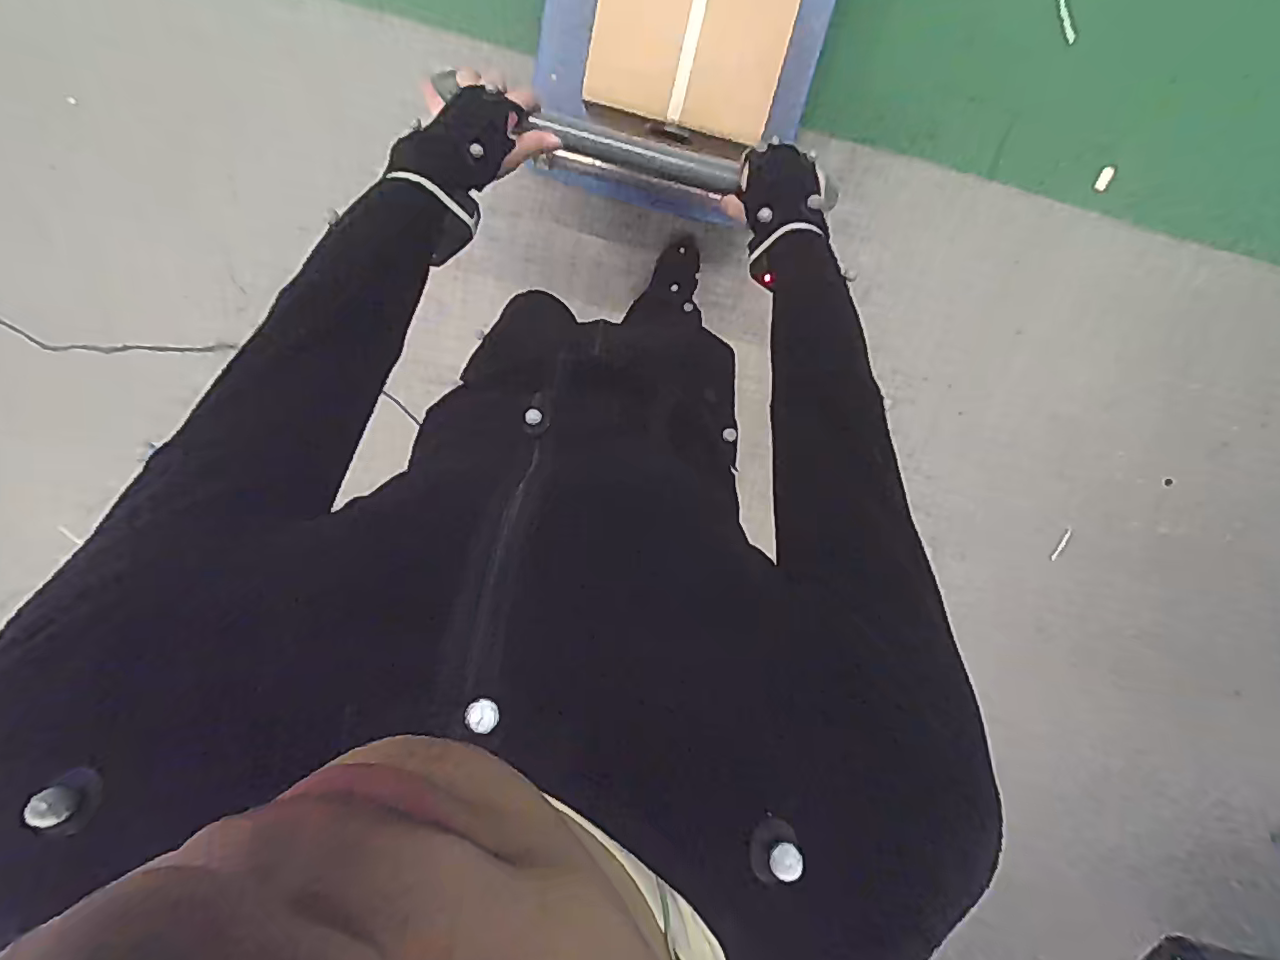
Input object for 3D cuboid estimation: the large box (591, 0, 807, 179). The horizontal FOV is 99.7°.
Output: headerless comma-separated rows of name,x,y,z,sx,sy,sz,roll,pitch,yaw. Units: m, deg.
large box,0.114,-0.822,0.978,0.320,0.320,0.408,14,110,-4
